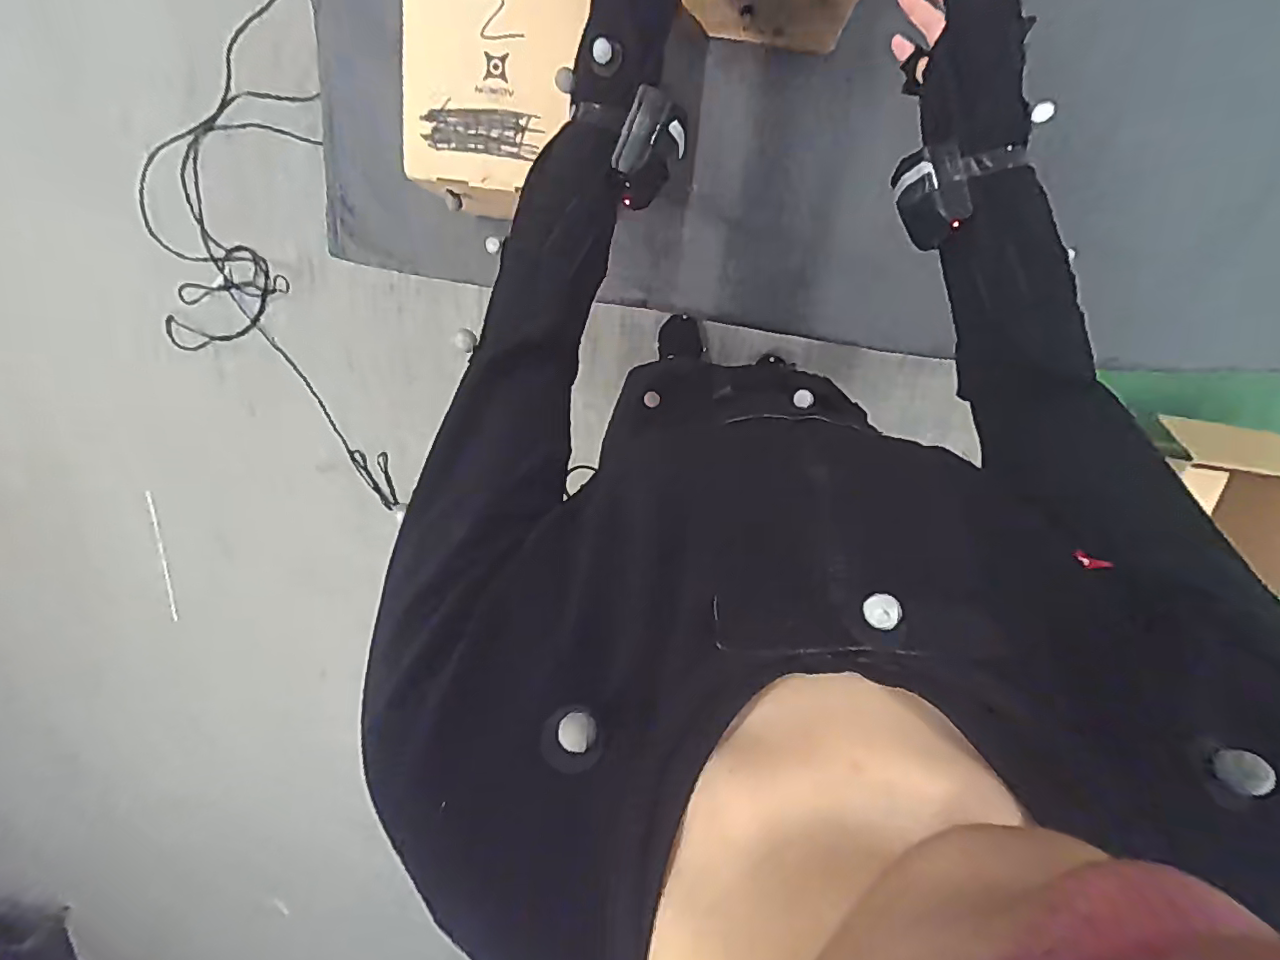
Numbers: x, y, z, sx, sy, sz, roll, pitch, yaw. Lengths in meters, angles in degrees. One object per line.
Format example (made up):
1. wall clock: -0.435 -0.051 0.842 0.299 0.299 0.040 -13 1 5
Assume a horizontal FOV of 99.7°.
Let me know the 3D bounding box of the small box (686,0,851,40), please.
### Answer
1. small box: 0.131 -0.542 0.480 0.168 0.176 0.179 9 109 2
